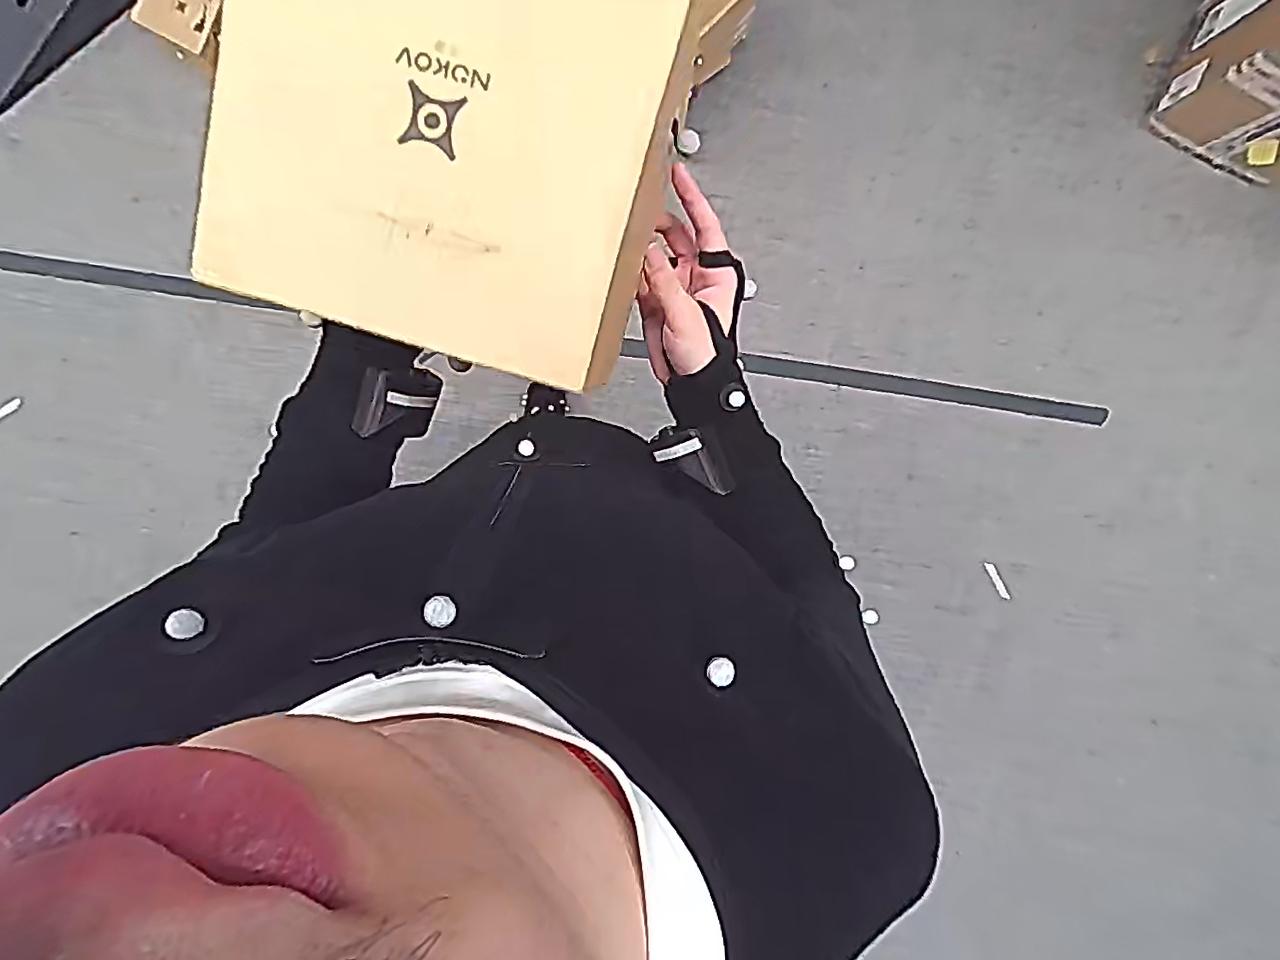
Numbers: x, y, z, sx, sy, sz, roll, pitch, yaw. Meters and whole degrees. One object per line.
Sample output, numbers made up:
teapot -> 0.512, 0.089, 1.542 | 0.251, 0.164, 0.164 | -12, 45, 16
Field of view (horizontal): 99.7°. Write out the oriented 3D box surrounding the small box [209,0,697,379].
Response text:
small box -> -0.079, -0.163, 0.297 | 0.168, 0.176, 0.179 | 17, 100, -2
